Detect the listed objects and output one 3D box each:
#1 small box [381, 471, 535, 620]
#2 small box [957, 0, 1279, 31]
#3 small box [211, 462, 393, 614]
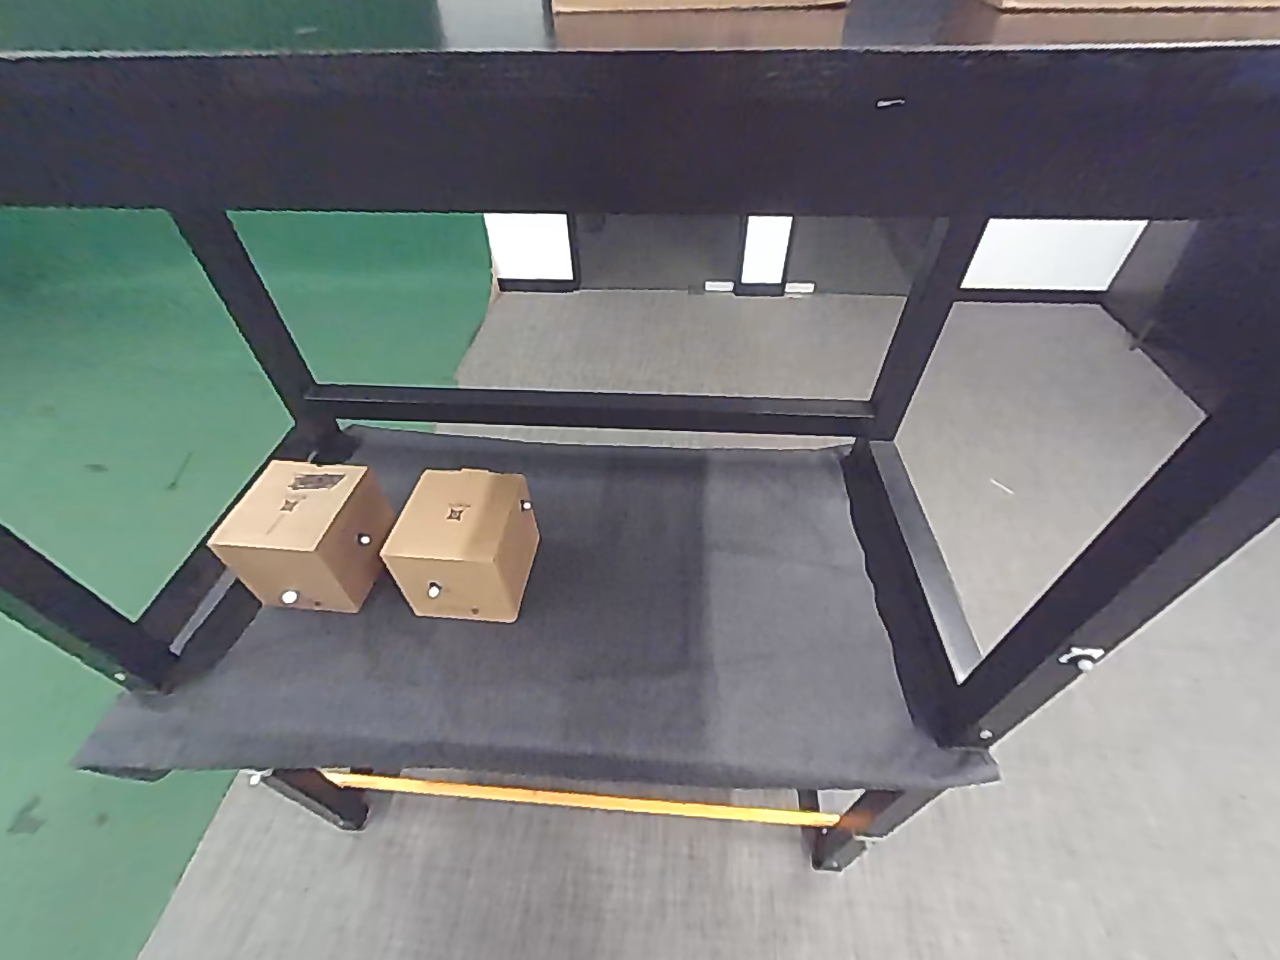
[{"bbox_3d":[-0.275,0.107,0.867,0.168,0.176,0.179,3,45,4],"label":"small box"},{"bbox_3d":[0.273,-0.330,0.257,0.168,0.176,0.179,11,46,11],"label":"small box"},{"bbox_3d":[-0.527,0.093,0.881,0.168,0.176,0.179,3,46,4],"label":"small box"}]
